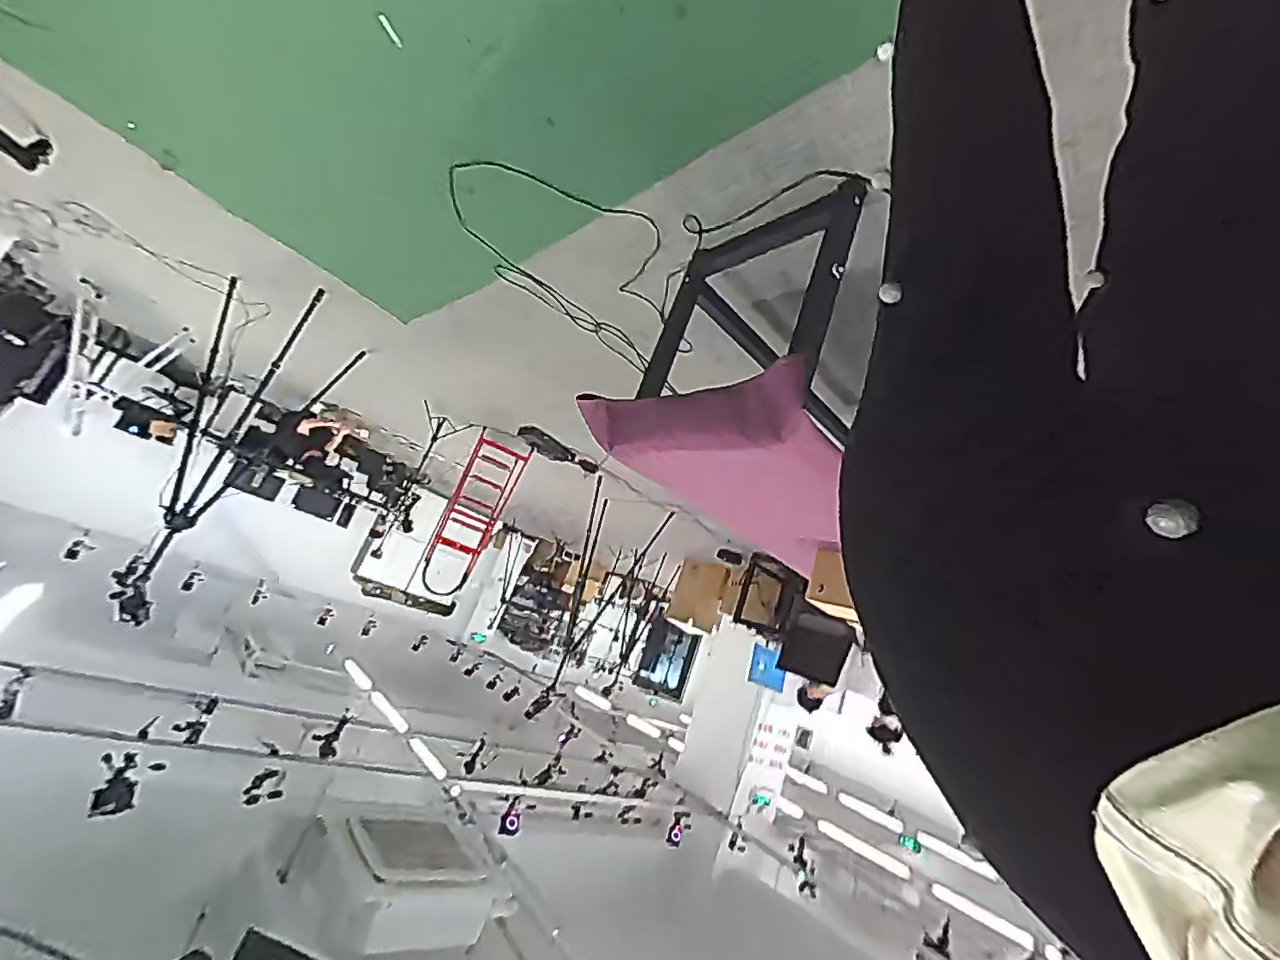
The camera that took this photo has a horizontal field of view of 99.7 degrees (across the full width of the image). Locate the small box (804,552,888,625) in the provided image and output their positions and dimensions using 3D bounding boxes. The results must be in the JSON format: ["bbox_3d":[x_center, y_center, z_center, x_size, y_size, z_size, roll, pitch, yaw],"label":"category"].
[{"bbox_3d":[0.655,0.339,1.712,0.168,0.176,0.179,33,160,-37],"label":"small box"}]
